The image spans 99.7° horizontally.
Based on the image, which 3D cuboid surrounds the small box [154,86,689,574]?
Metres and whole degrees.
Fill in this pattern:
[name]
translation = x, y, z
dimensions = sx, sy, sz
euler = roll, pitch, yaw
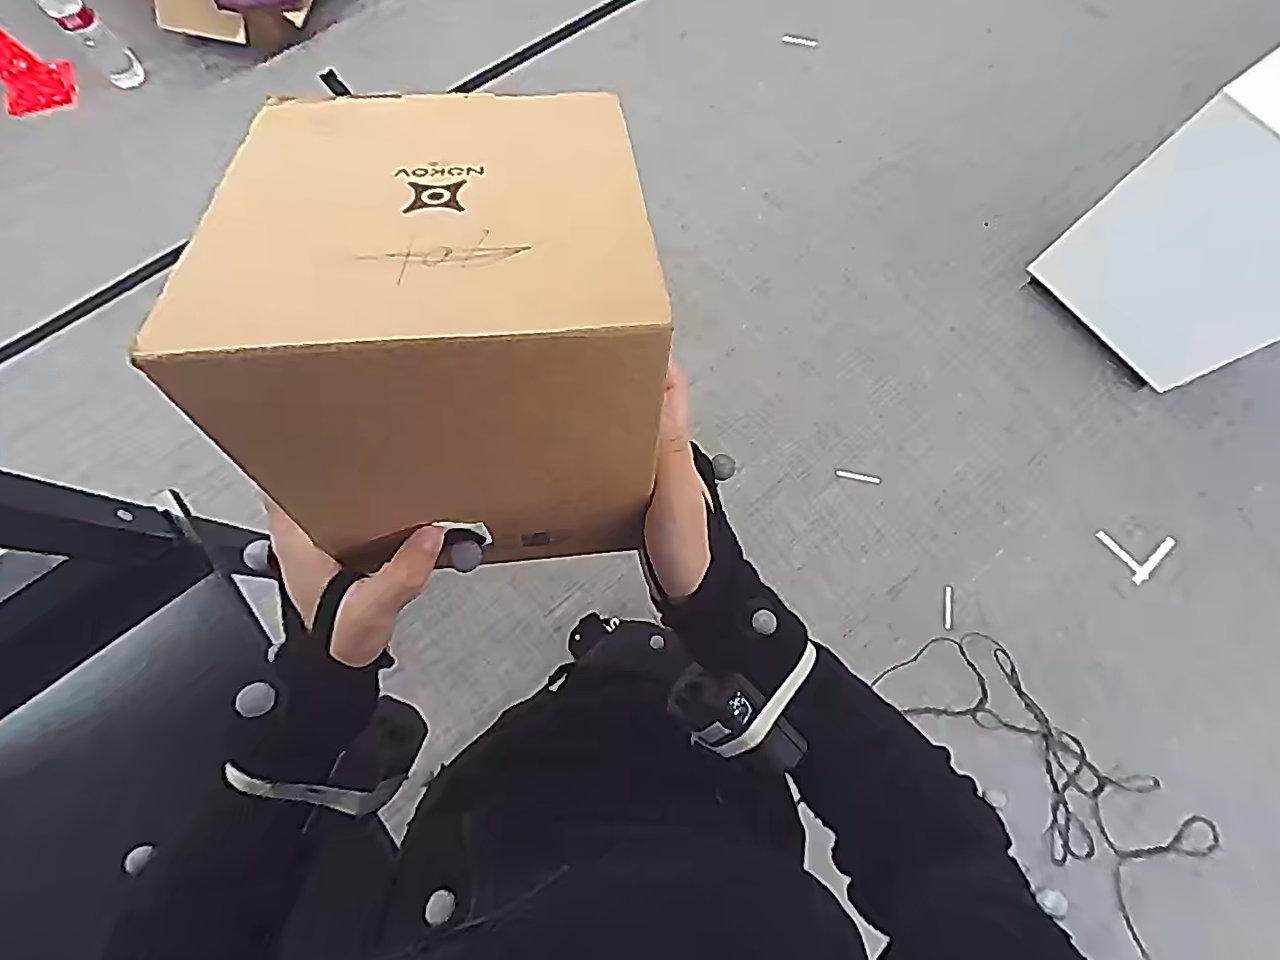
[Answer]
[small box]
translation = -0.078, -0.071, 0.280
dimensions = 0.168, 0.176, 0.179
euler = -6, 58, -6
